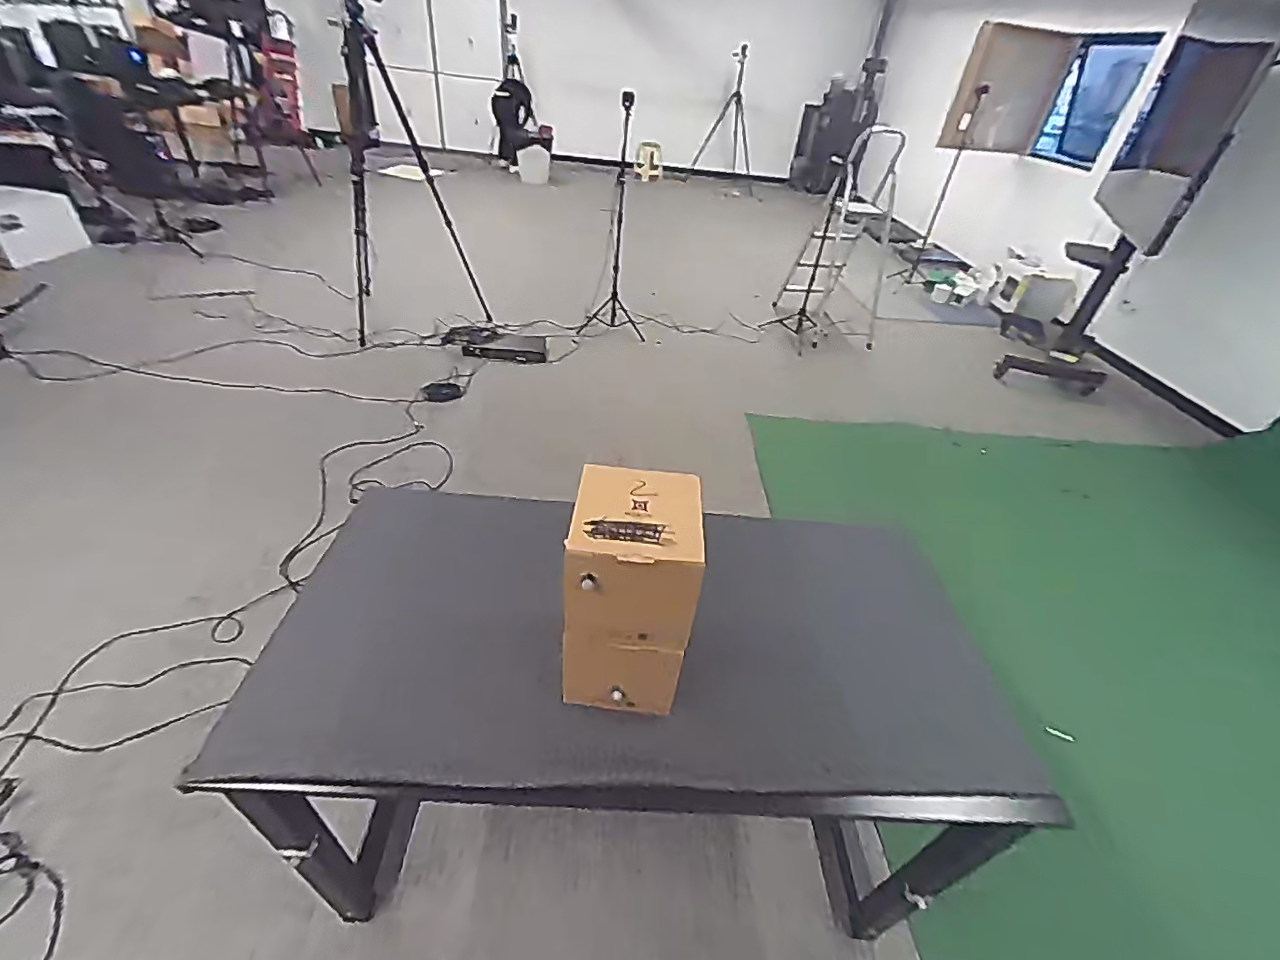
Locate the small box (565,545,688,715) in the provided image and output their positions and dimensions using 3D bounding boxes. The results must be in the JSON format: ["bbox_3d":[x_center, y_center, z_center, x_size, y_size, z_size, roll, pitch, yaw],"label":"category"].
[{"bbox_3d":[-0.021,0.229,0.834,0.168,0.176,0.179,7,37,1],"label":"small box"}]
